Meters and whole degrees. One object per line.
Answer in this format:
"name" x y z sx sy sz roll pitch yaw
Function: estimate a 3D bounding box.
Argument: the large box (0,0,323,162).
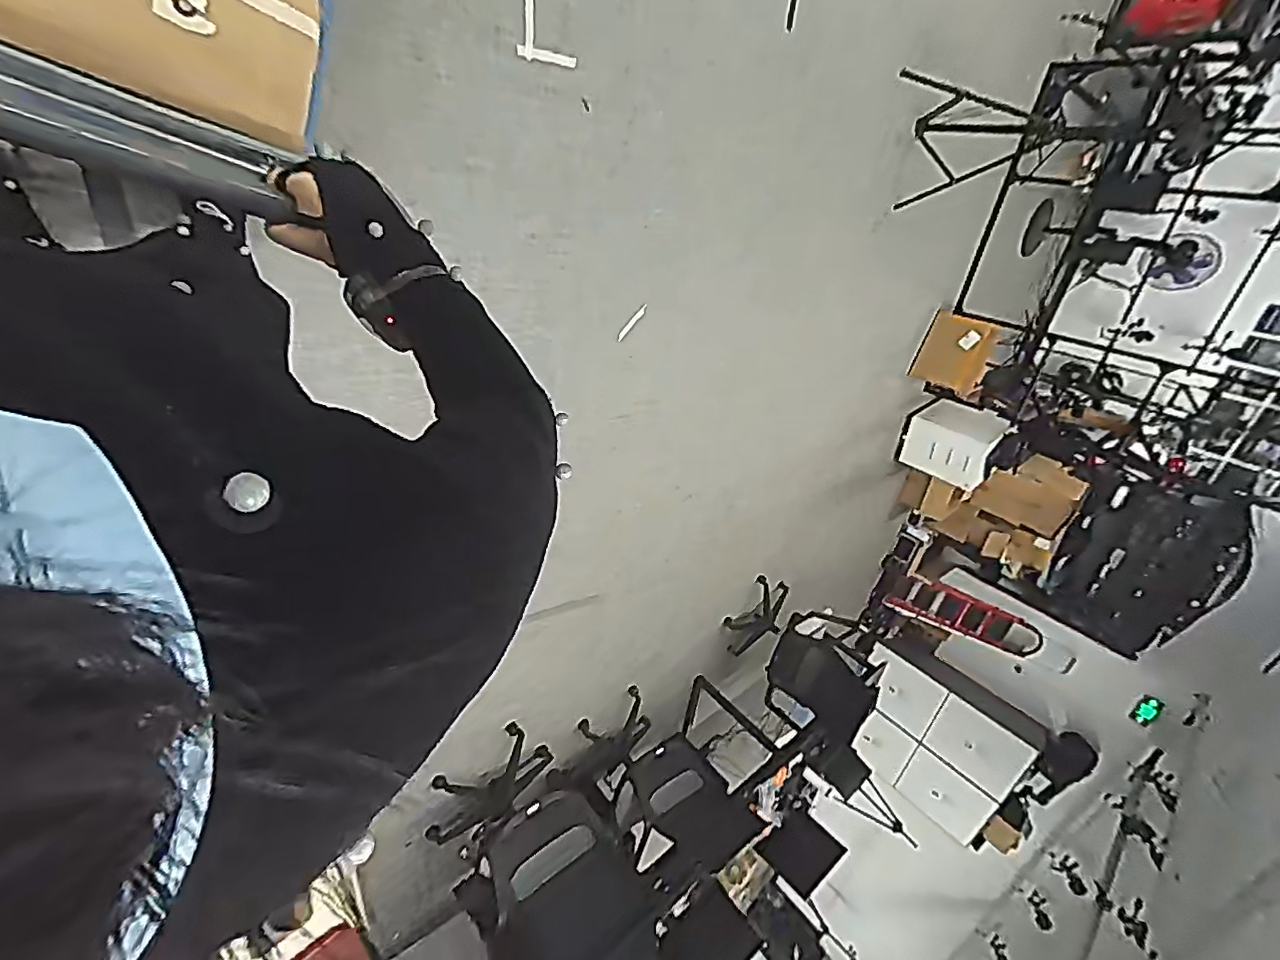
"large box" -0.666 -0.645 0.667 0.408 0.320 0.320 0 116 -48
